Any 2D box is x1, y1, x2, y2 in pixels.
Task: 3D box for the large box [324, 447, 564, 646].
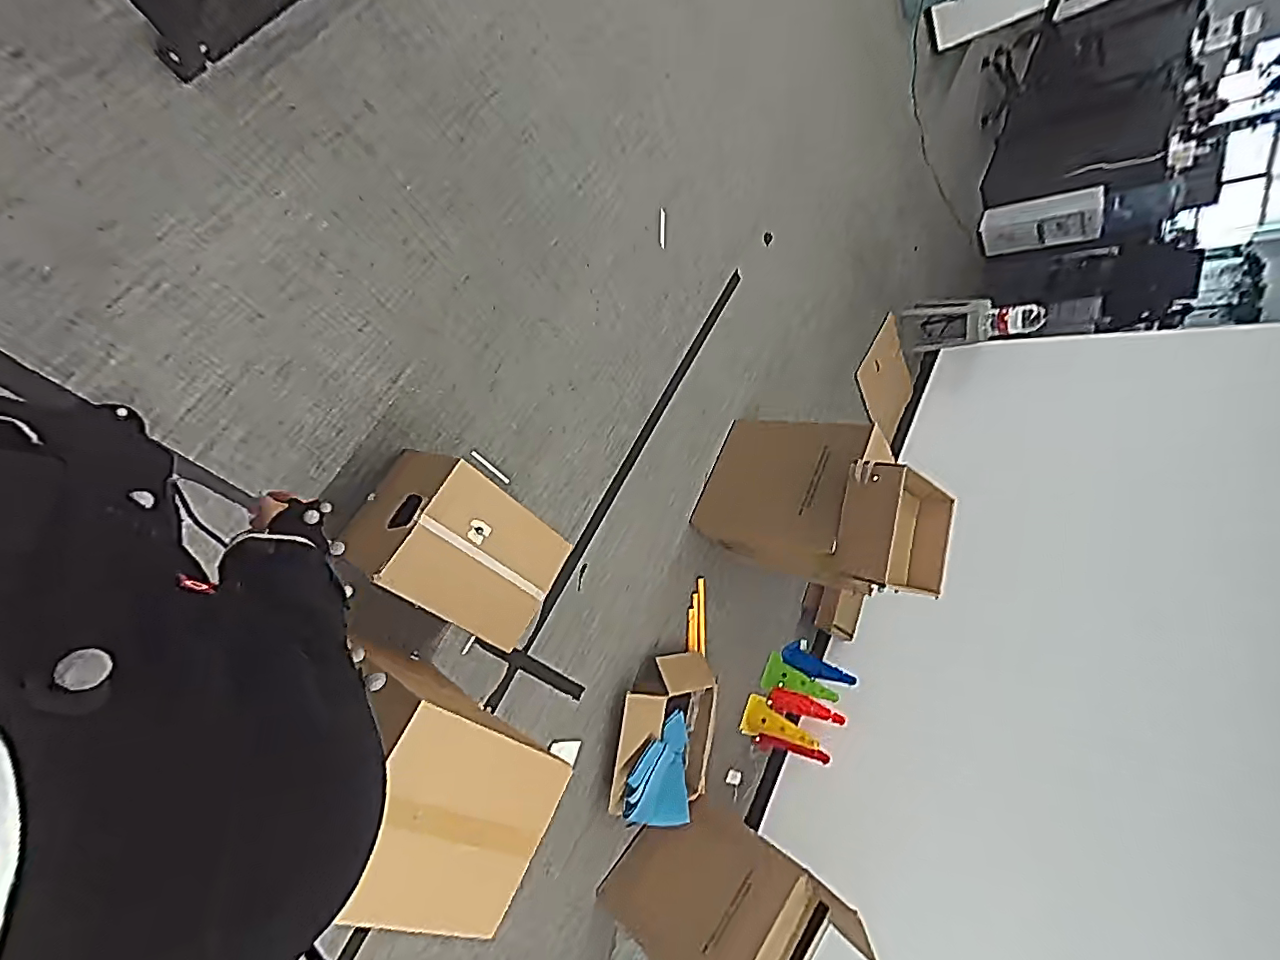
[{"bbox_3d":[-0.477,0.160,1.350,0.408,0.320,0.320,46,64,-38],"label":"large box"}]
